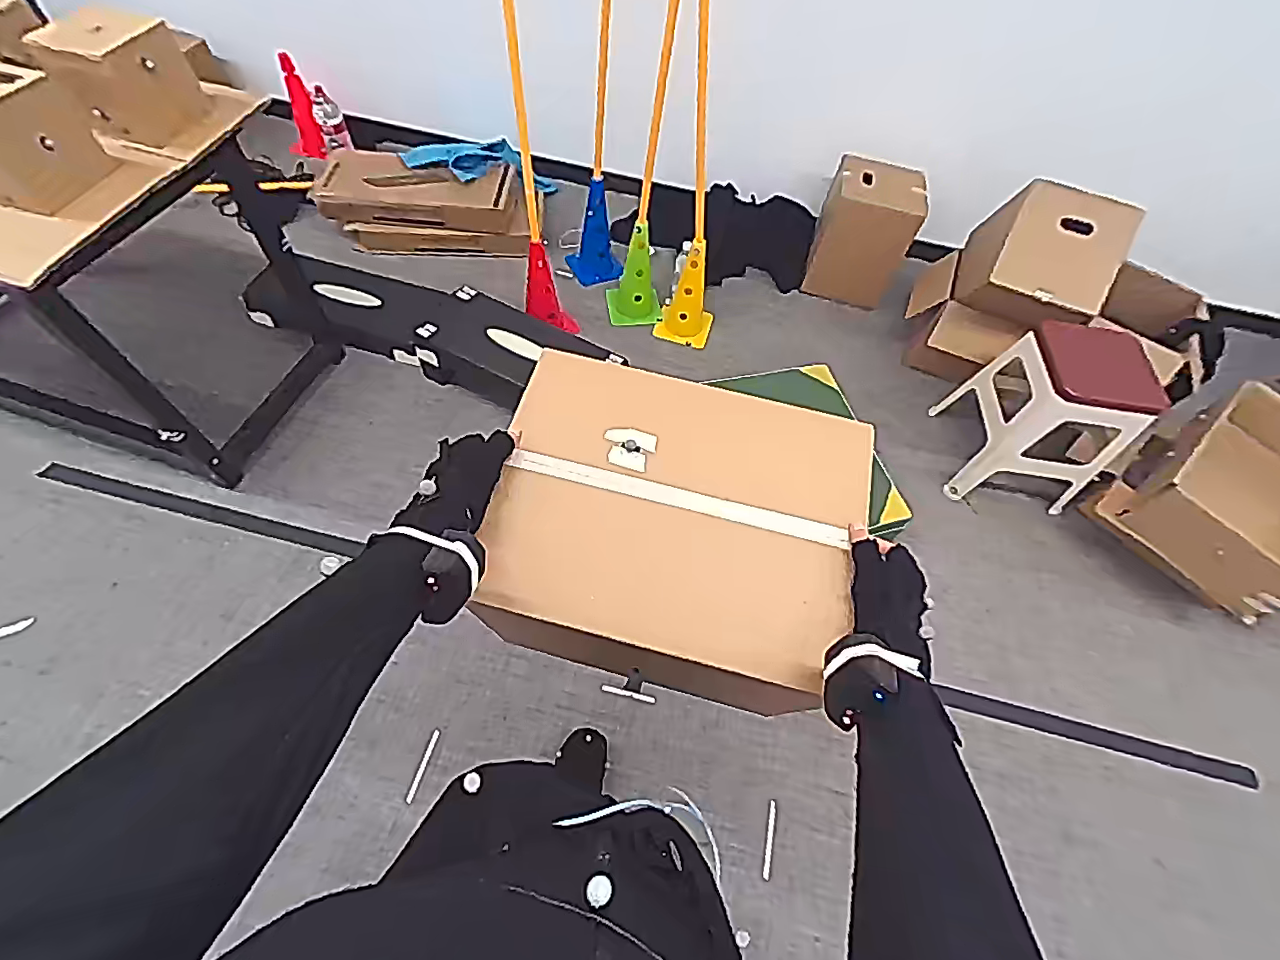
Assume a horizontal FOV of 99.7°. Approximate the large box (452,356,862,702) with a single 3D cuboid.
[{"bbox_3d":[0.034,0.085,0.728,0.408,0.320,0.320,14,64,5],"label":"large box"}]
